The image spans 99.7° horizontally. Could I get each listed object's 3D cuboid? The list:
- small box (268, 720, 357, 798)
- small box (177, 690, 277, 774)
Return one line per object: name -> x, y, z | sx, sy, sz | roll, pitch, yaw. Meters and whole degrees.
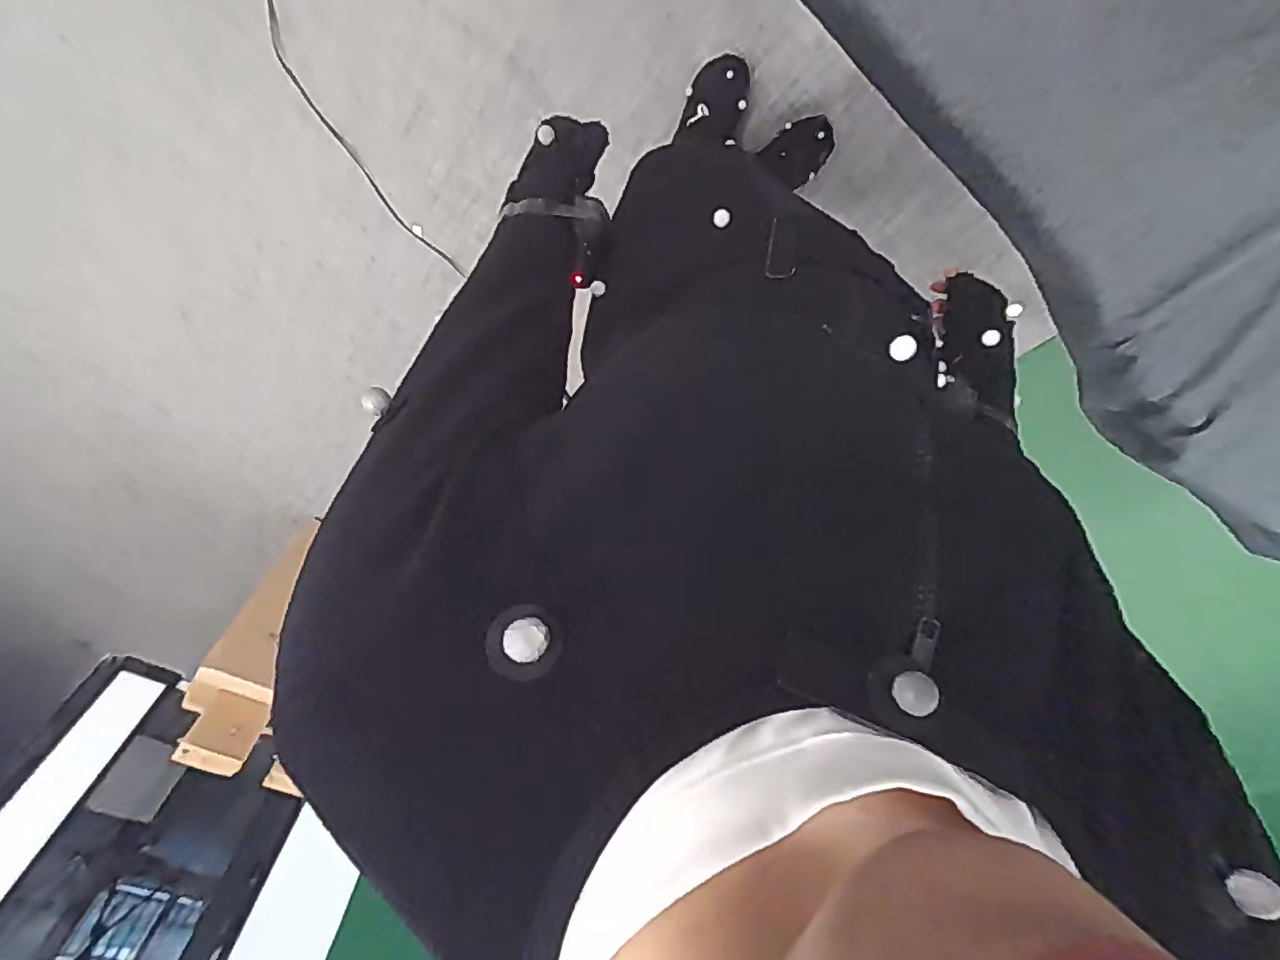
small box -> -1.081, 0.920, 1.792 | 0.179, 0.176, 0.168 | 31, 126, -22
small box -> -1.286, 0.789, 1.696 | 0.179, 0.176, 0.168 | 34, 123, -22
